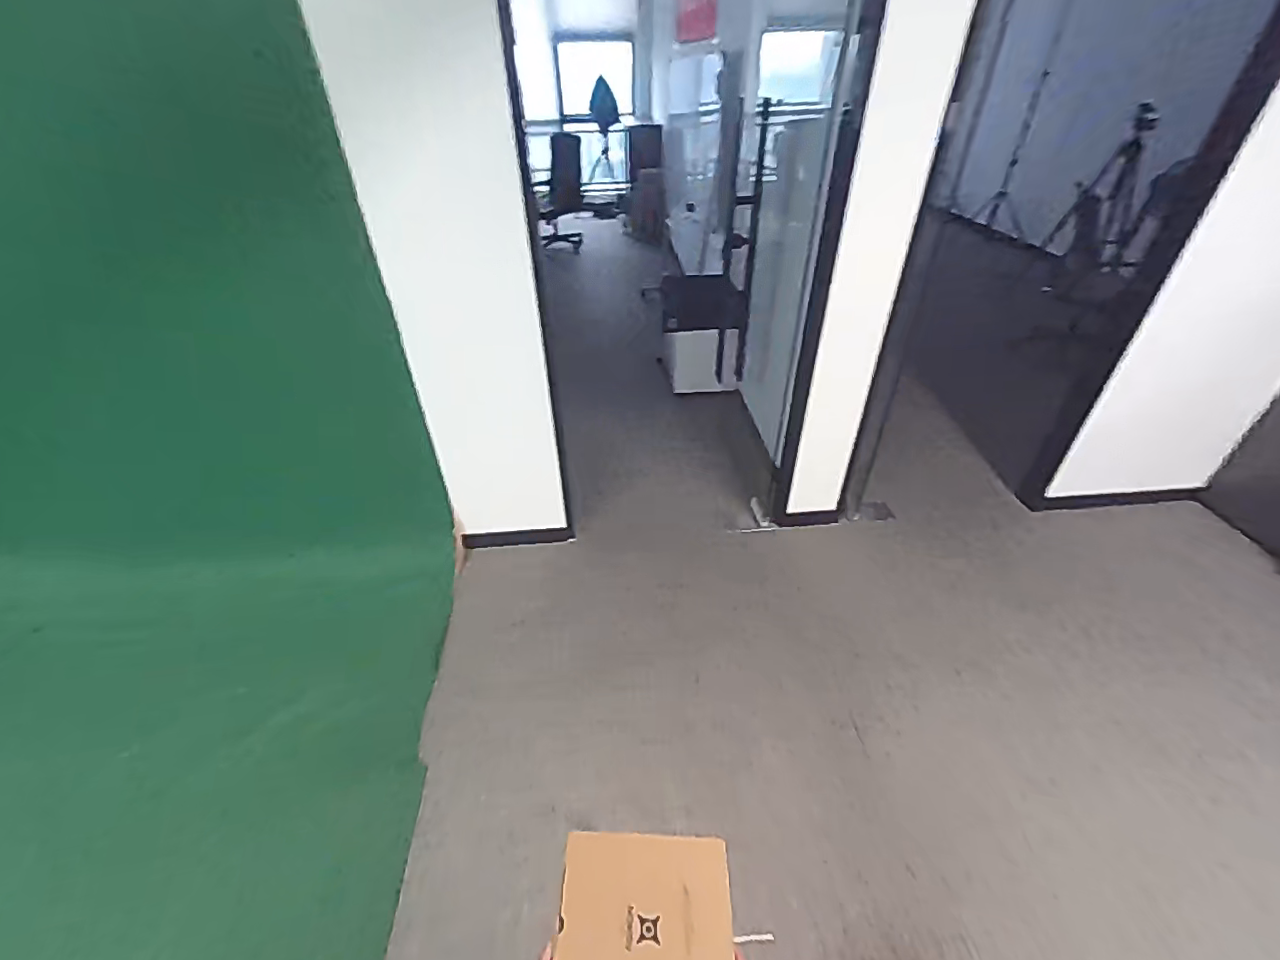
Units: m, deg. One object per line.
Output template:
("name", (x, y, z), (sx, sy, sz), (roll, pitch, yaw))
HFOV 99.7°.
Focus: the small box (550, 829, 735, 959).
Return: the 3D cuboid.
("small box", (0.001, 0.499, 0.575), (0.179, 0.176, 0.168), (4, 38, 0))
